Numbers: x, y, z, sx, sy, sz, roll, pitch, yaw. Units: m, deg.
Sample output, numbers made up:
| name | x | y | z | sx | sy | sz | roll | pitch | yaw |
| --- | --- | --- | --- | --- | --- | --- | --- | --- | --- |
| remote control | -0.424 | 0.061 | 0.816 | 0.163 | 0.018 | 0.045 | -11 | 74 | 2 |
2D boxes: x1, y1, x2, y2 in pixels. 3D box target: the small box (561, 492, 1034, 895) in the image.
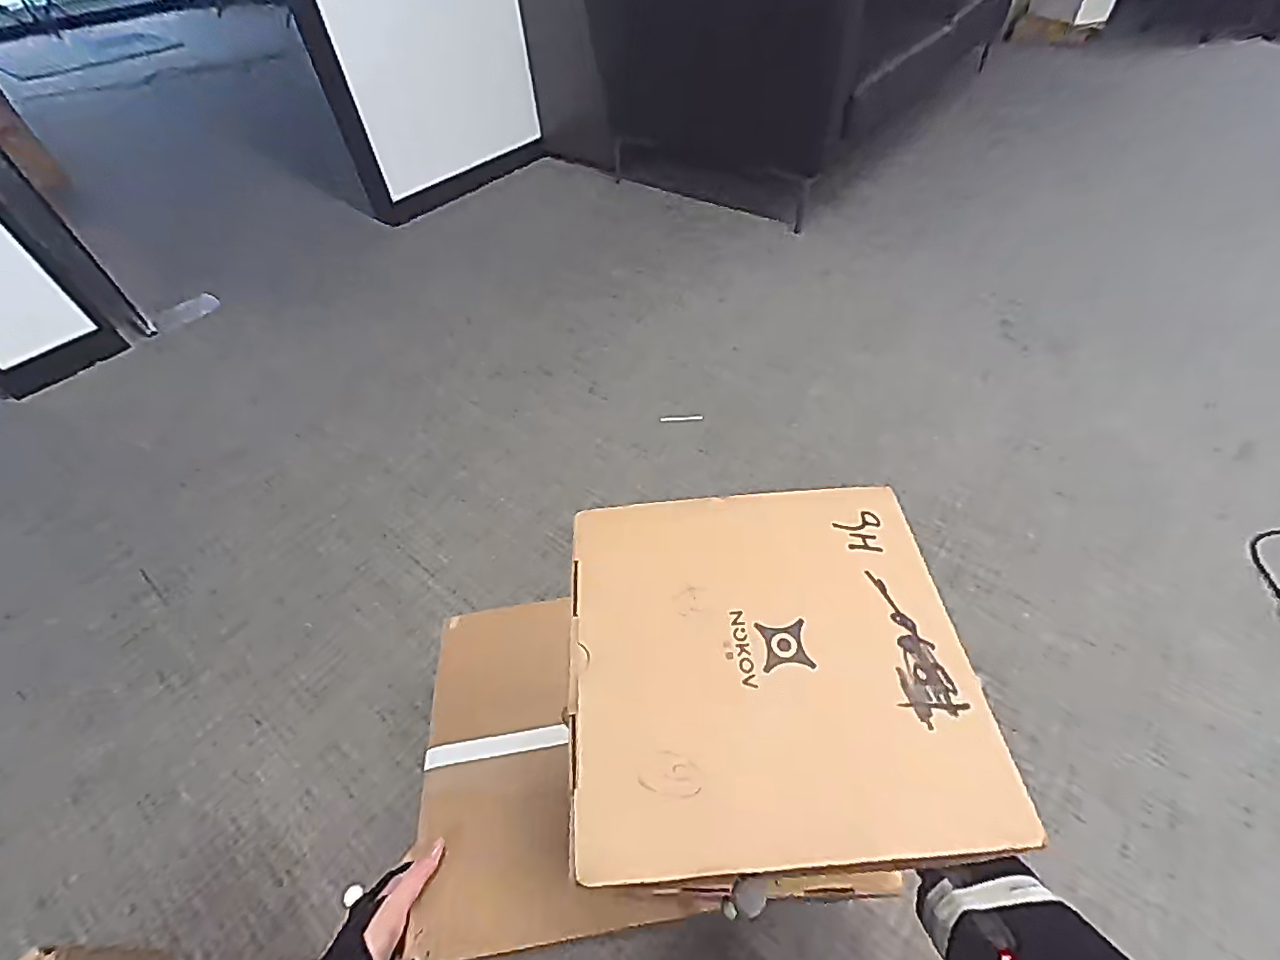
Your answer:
| name | x | y | z | sx | sy | sz | roll | pitch | yaw |
| --- | --- | --- | --- | --- | --- | --- | --- | --- | --- |
| small box | 0.058 | 0.127 | 0.307 | 0.179 | 0.176 | 0.168 | -5 | 52 | 0 |

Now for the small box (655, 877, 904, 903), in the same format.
| name | x | y | z | sx | sy | sz | roll | pitch | yaw |
| --- | --- | --- | --- | --- | --- | --- | --- | --- | --- |
| small box | 0.079 | 0.228 | 0.435 | 0.168 | 0.176 | 0.179 | -1 | 53 | 2 |
